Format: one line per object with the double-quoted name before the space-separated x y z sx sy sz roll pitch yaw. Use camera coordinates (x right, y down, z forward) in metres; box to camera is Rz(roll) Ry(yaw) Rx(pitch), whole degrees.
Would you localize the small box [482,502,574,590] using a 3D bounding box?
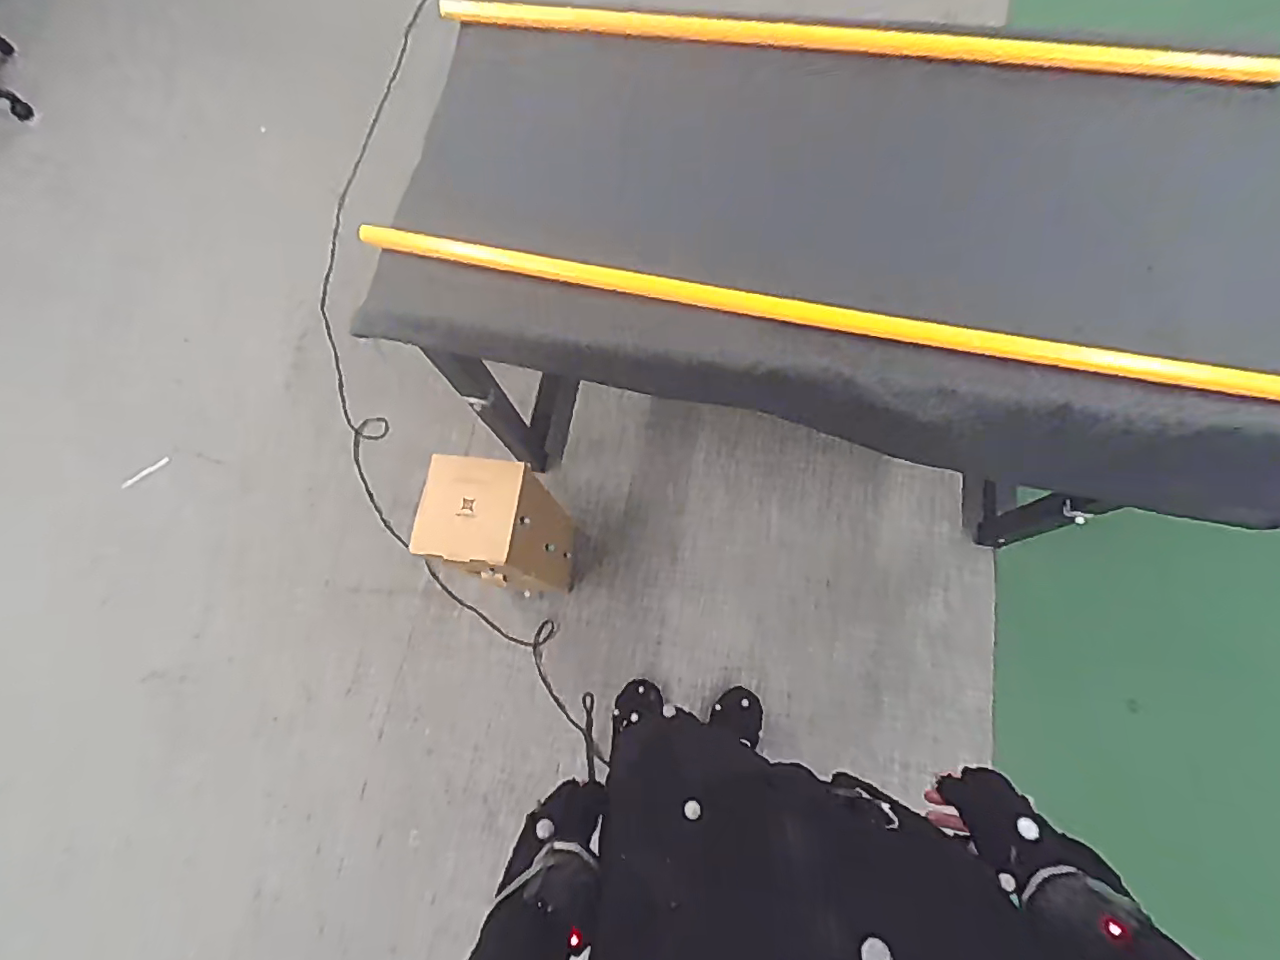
"small box" -0.255 0.160 1.278 0.168 0.176 0.179 3 74 5
